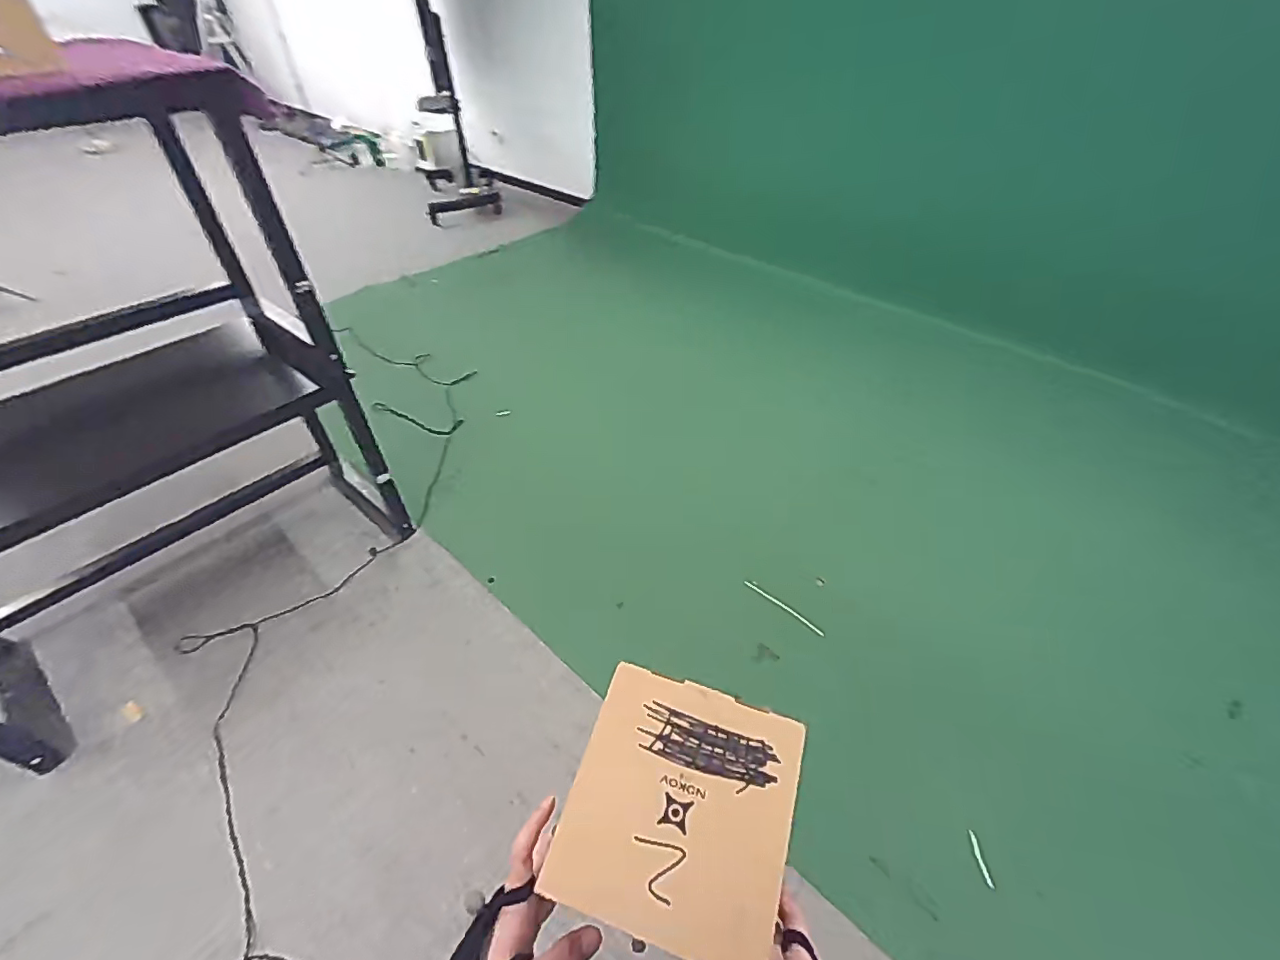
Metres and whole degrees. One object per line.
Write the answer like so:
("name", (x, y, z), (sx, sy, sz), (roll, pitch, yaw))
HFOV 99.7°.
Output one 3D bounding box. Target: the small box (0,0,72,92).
("small box", (-1.183, -0.811, 0.970), (0.168, 0.176, 0.179), (30, 50, 29))
